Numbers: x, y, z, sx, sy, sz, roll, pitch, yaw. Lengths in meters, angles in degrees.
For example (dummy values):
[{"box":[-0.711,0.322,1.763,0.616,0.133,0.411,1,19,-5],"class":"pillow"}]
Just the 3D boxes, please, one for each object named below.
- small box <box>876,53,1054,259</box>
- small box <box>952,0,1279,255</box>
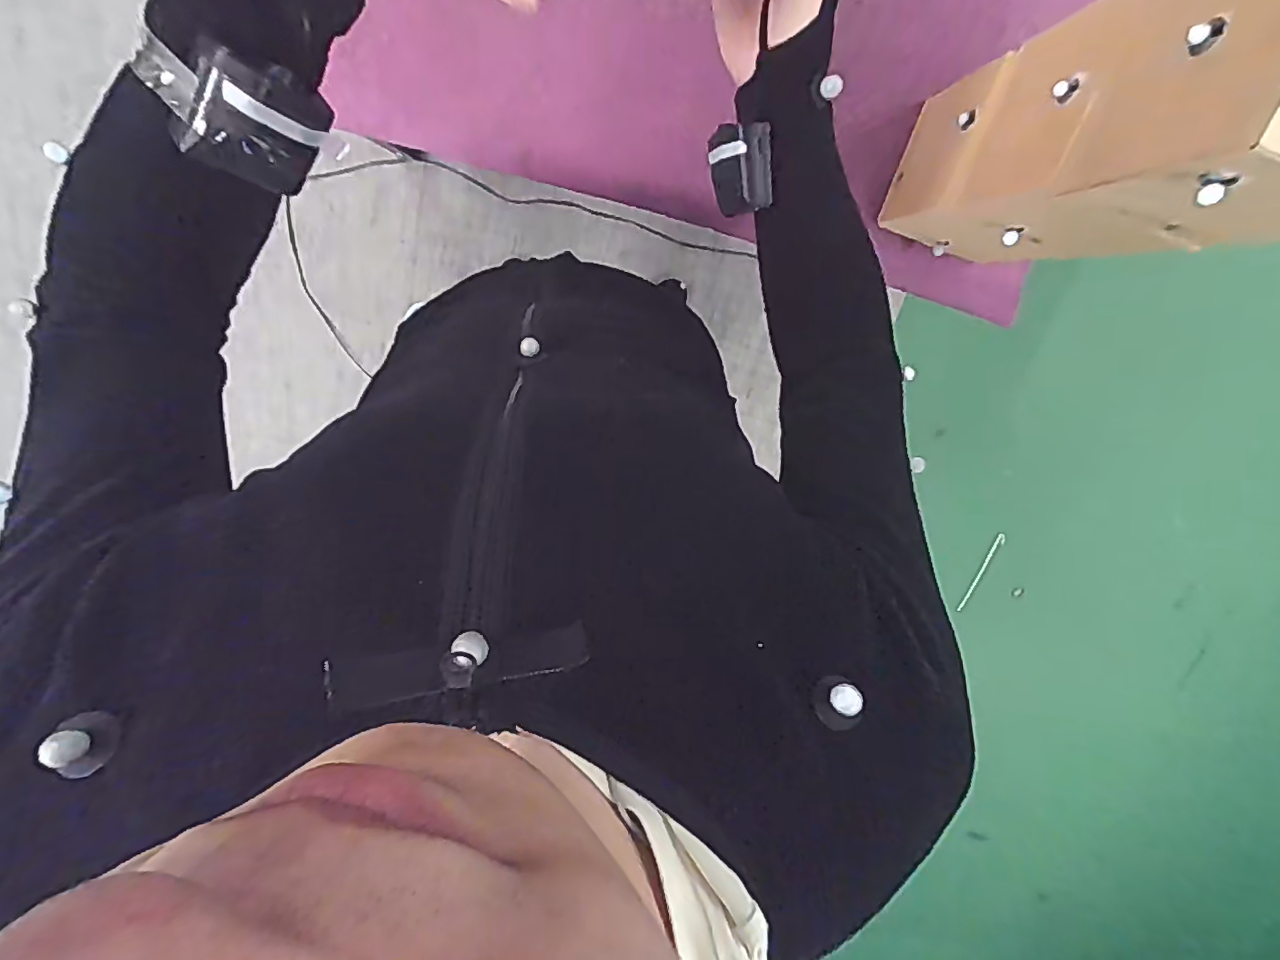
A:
[{"box":[0.449,-0.397,0.699,0.179,0.176,0.168,16,108,-9],"class":"small box"},{"box":[0.462,-0.344,0.546,0.168,0.176,0.179,16,108,-8],"class":"small box"}]
